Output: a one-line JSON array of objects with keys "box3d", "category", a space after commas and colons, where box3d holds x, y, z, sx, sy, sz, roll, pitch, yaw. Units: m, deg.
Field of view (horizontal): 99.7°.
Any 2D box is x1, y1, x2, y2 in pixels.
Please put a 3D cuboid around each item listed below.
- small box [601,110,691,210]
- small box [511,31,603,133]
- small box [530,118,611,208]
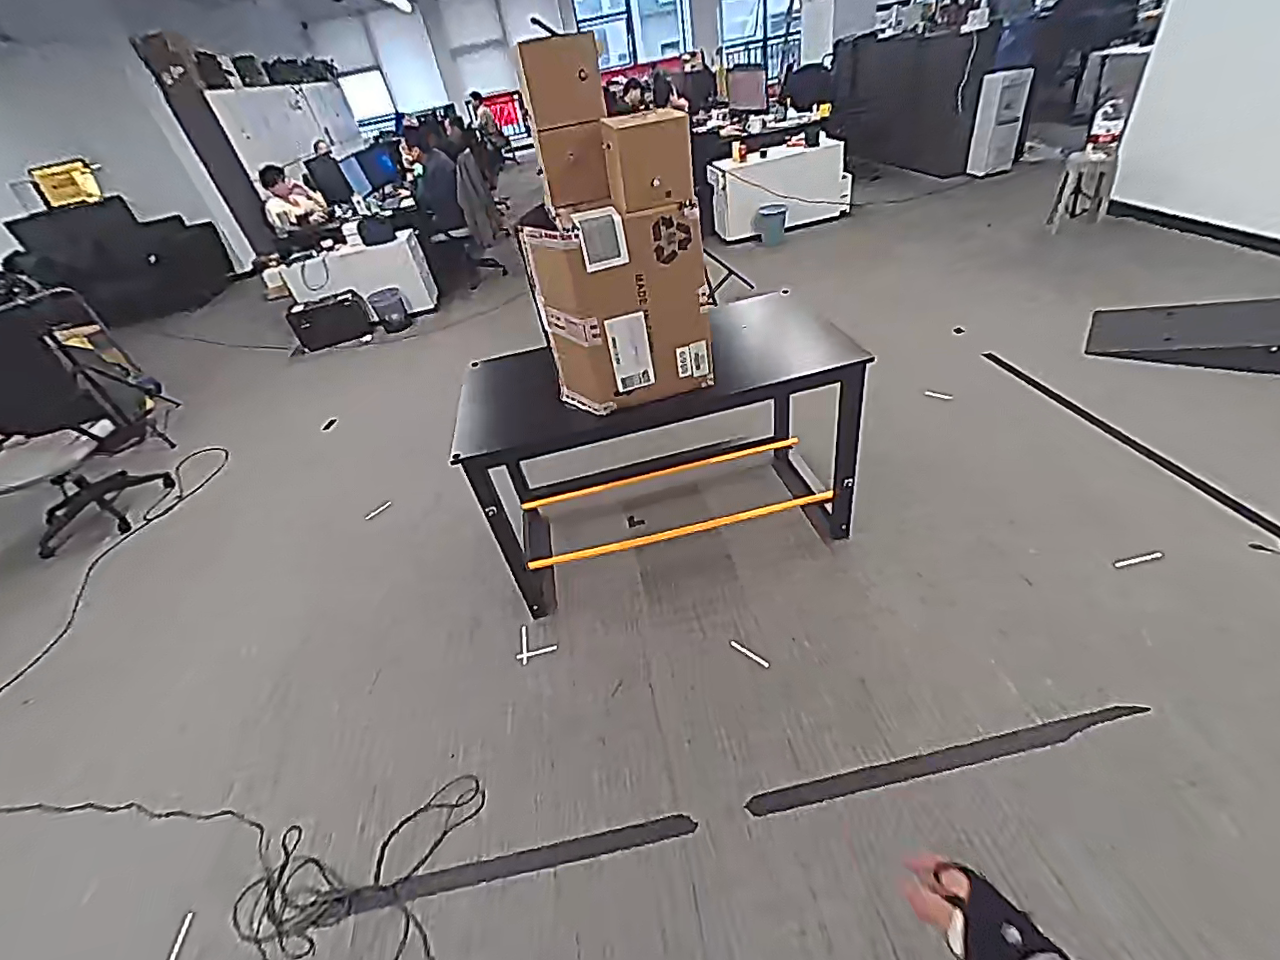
[{"box3d": [0.014, -0.740, 1.253, 0.168, 0.176, 0.179, -15, 40, -6], "category": "small box"}, {"box3d": [-0.194, -0.942, 1.289, 0.179, 0.176, 0.168, -17, 36, -8], "category": "small box"}, {"box3d": [-0.171, -0.815, 1.389, 0.179, 0.176, 0.168, -16, 37, -6], "category": "small box"}]
